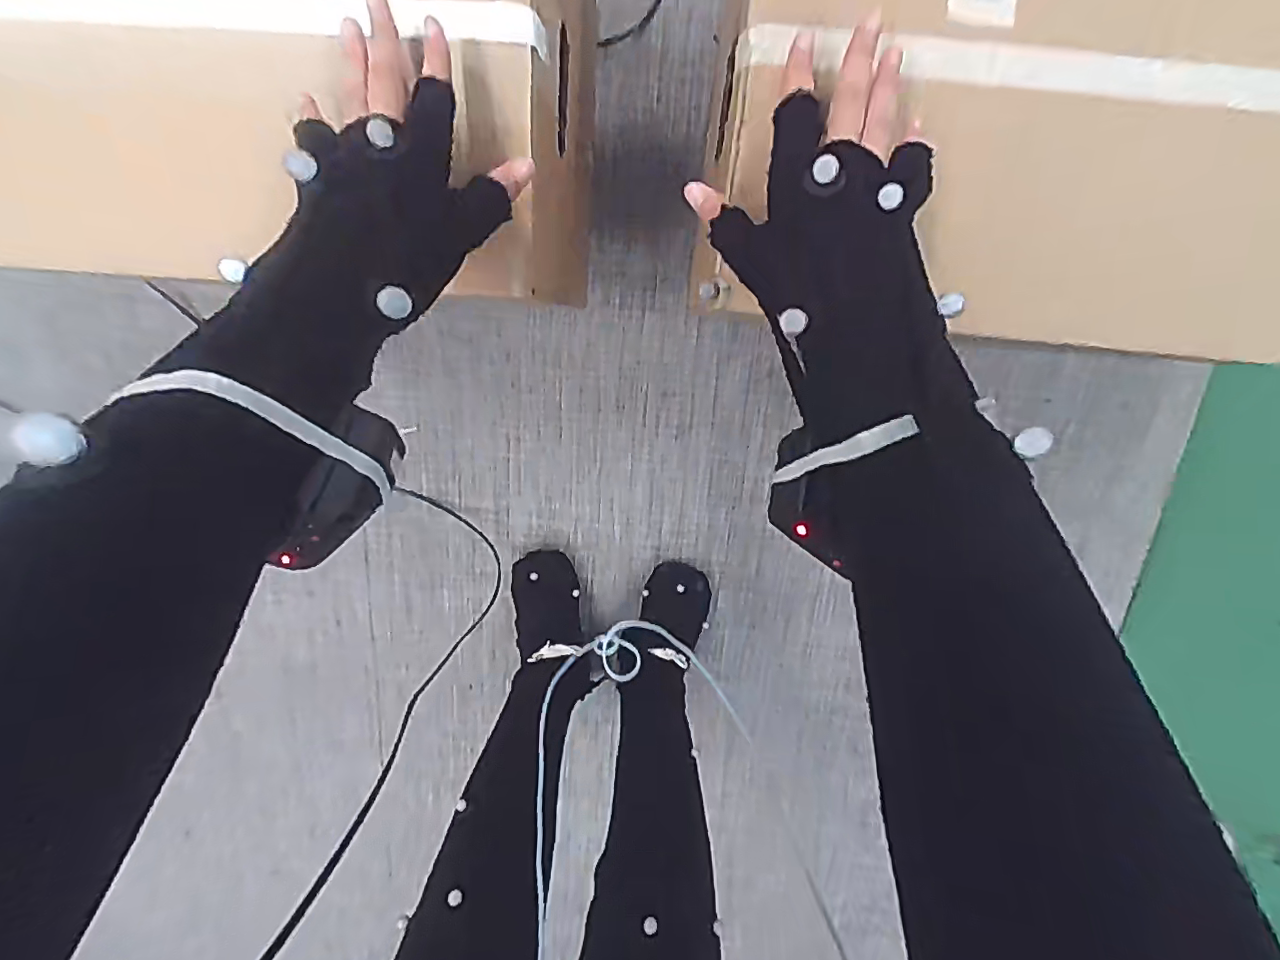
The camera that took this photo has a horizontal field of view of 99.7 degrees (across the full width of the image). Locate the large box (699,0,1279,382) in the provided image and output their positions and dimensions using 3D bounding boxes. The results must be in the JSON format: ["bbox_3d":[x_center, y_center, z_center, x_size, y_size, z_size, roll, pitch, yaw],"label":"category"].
[{"bbox_3d":[0.283,-0.282,0.513,0.408,0.320,0.320,6,106,0],"label":"large box"}]
